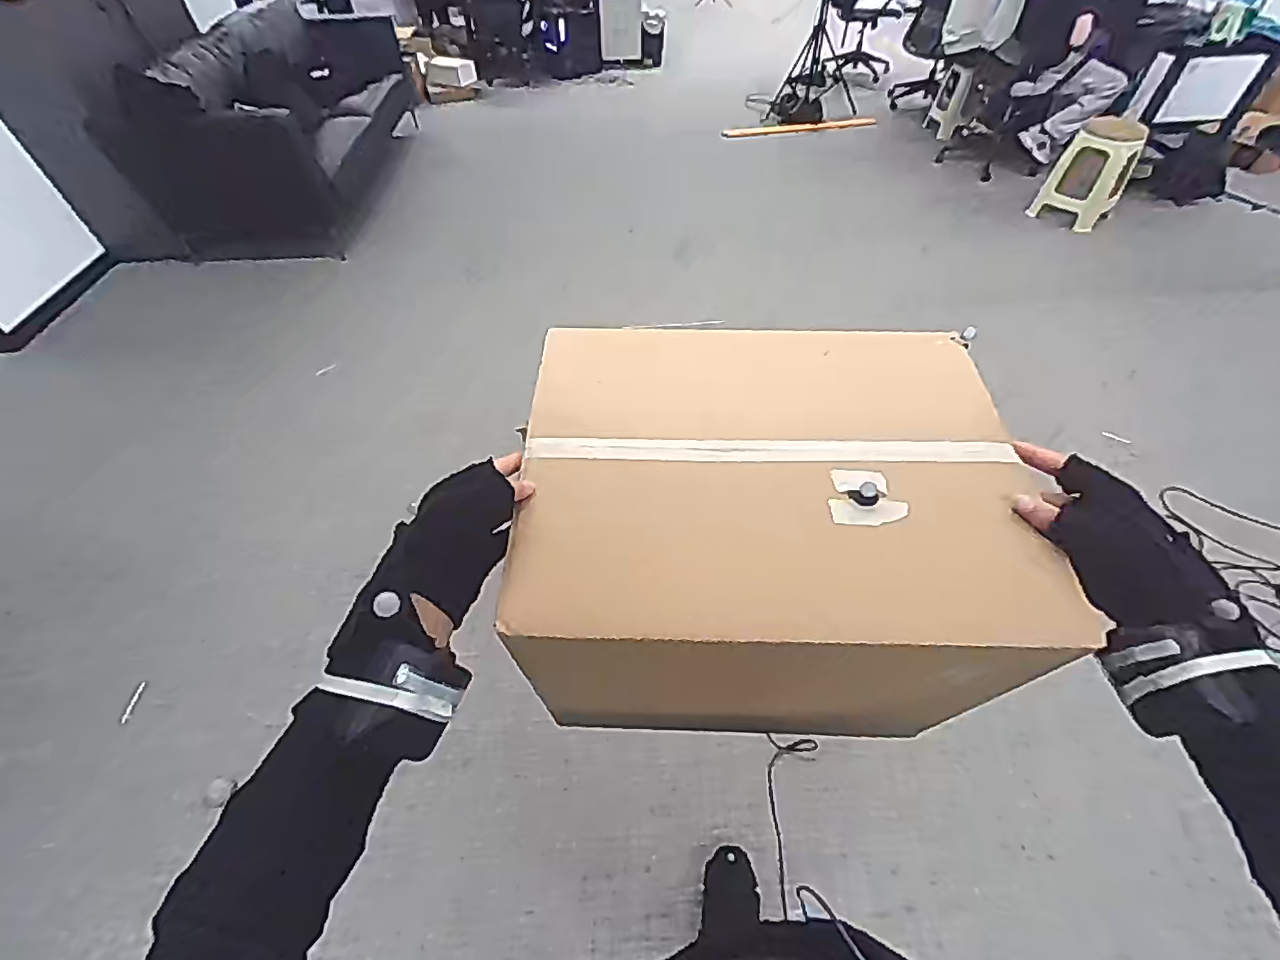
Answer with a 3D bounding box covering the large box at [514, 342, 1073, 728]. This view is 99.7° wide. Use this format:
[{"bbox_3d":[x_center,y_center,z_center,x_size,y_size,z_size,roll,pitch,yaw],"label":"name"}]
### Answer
[{"bbox_3d":[0.108,0.071,0.585,0.408,0.320,0.320,0,56,1],"label":"large box"}]
